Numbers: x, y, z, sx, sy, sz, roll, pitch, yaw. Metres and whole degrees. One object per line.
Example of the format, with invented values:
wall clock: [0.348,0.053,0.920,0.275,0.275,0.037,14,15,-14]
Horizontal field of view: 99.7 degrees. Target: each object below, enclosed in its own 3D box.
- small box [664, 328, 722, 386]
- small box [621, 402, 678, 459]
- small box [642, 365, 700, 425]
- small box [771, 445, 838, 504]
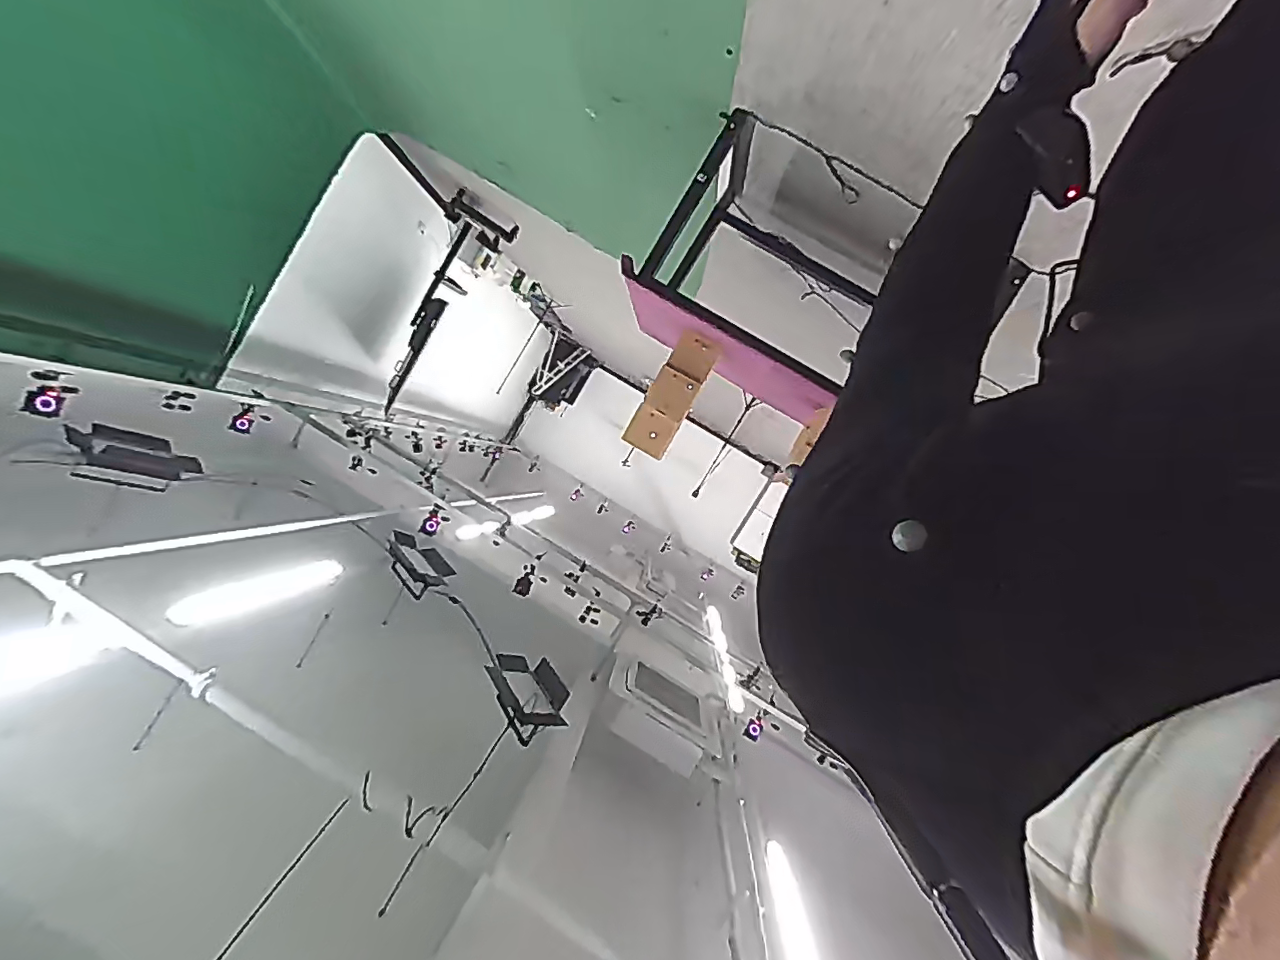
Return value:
small box: [0.208,-0.477,2.138,0.168,0.176,0.179,30,-177,1]
small box: [0.042,-0.197,2.146,0.168,0.176,0.179,30,-176,5]
small box: [0.124,-0.335,2.127,0.168,0.176,0.179,30,-176,3]
small box: [0.625,-0.023,2.054,0.168,0.176,0.179,32,-178,4]
